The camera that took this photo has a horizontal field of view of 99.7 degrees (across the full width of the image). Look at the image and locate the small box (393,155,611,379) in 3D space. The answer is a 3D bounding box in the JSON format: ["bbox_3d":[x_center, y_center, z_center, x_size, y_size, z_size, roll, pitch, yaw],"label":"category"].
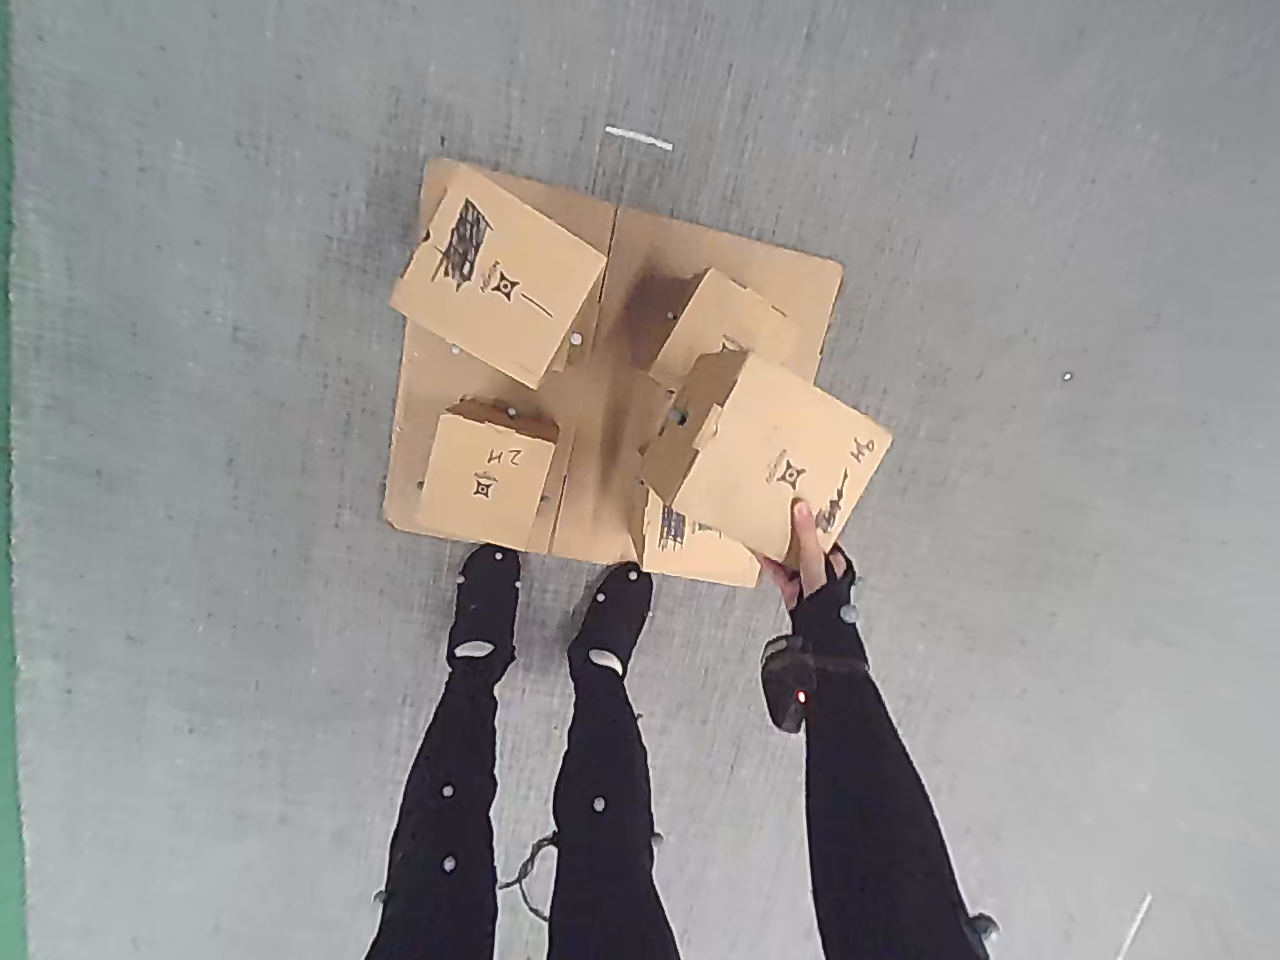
[{"bbox_3d":[-0.154,-0.236,0.647,0.179,0.176,0.168,30,98,-13],"label":"small box"}]

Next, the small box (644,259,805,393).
[{"bbox_3d":[0.118,-0.212,0.849,0.168,0.176,0.179,30,98,-12],"label":"small box"}]

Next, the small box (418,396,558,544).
[{"bbox_3d":[-0.229,-0.023,0.858,0.168,0.176,0.179,16,101,-11],"label":"small box"}]

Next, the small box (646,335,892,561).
[{"bbox_3d":[0.124,-0.039,0.597,0.179,0.176,0.168,27,95,-13],"label":"small box"}]
